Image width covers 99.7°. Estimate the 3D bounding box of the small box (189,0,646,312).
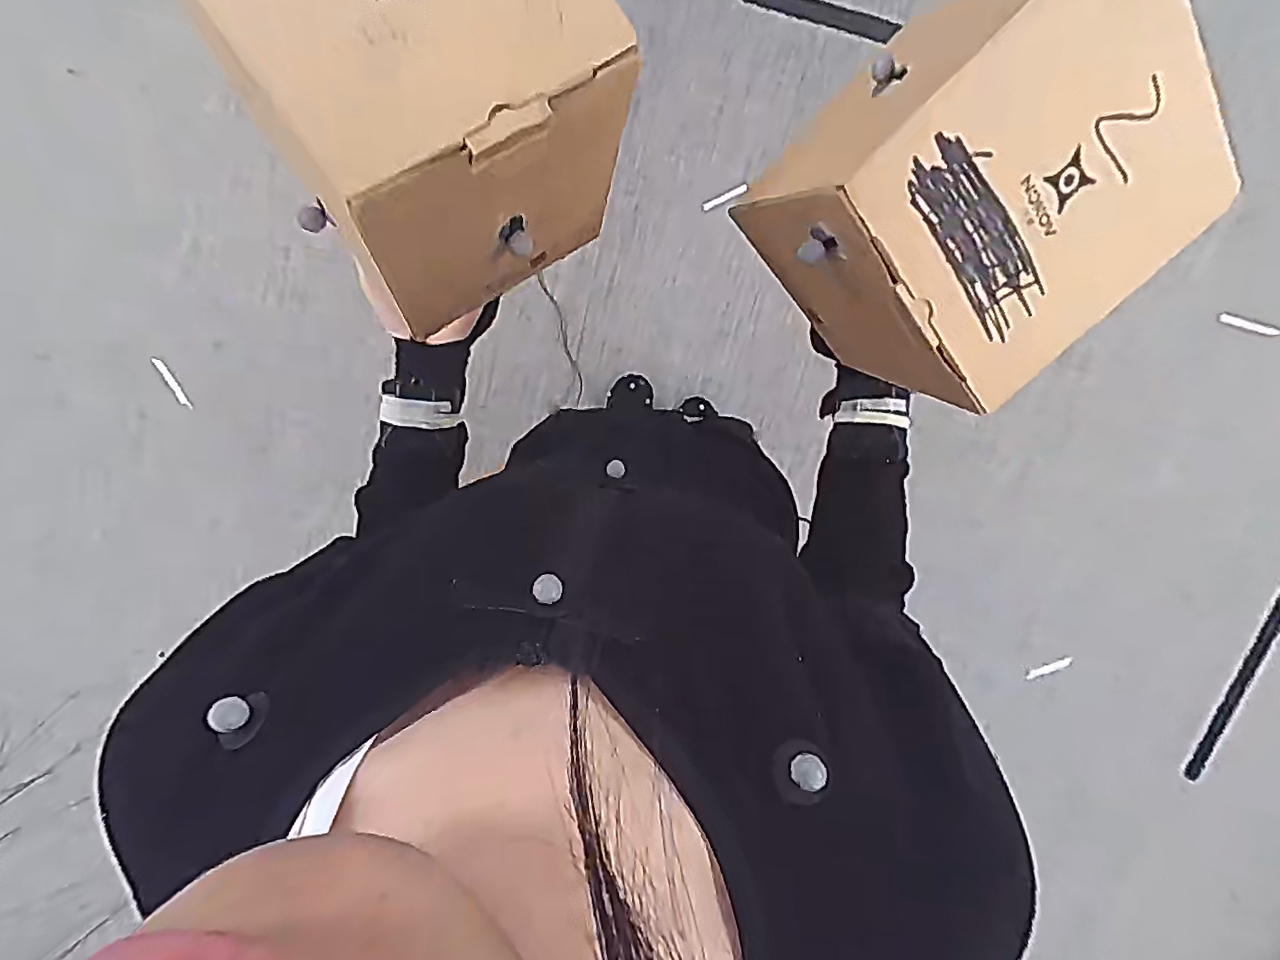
[{"bbox_3d":[-0.125,-0.225,0.322,0.168,0.176,0.179,-37,93,-15],"label":"small box"}]
